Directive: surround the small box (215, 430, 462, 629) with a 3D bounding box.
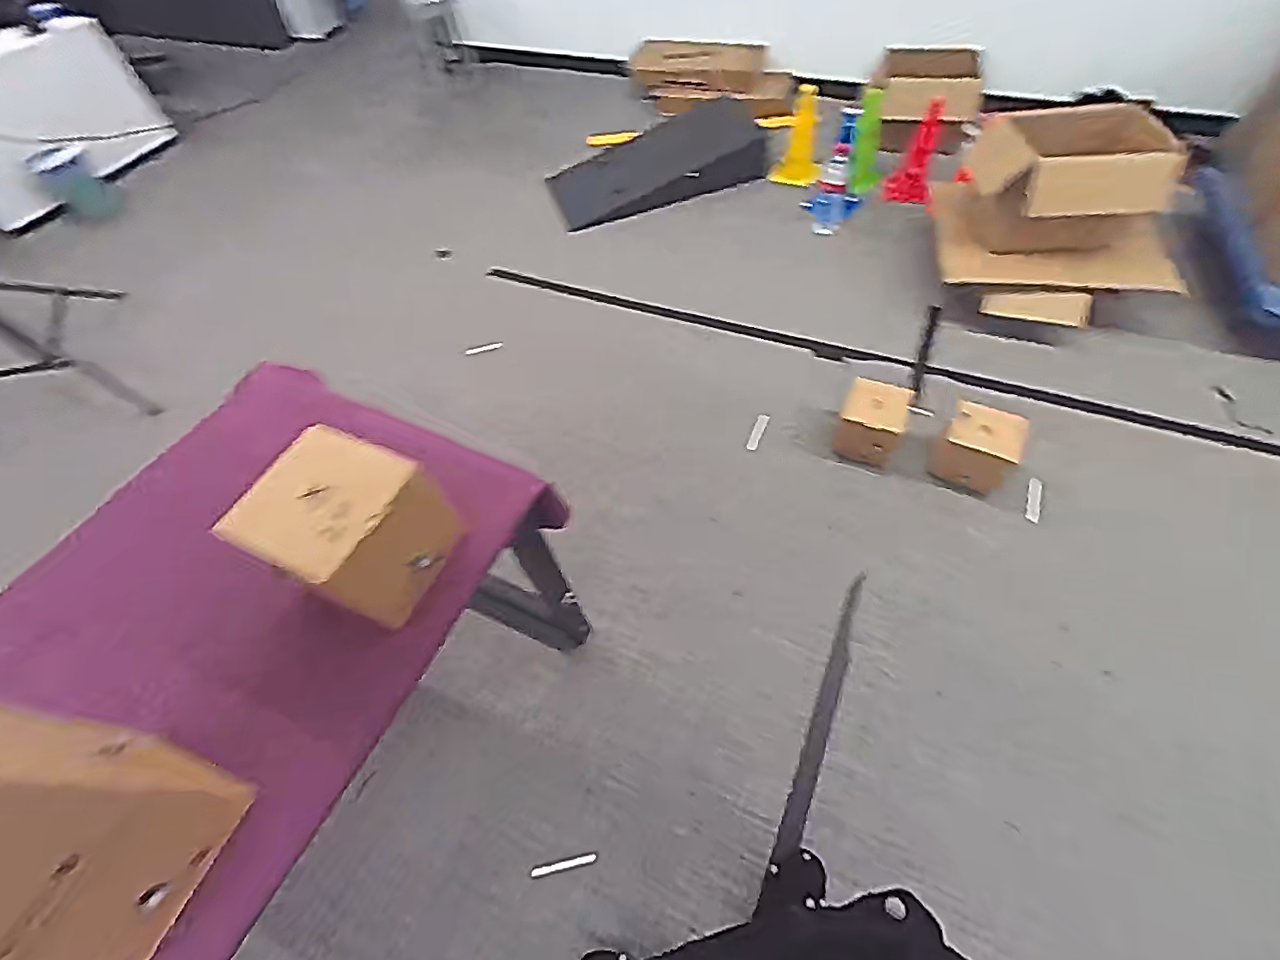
[{"bbox_3d":[-0.366,0.068,0.689,0.179,0.176,0.168,19,62,17],"label":"small box"}]

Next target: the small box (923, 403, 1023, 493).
[{"bbox_3d":[0.953,-0.087,1.557,0.179,0.176,0.168,23,62,18],"label":"small box"}]

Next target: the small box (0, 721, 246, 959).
[{"bbox_3d":[-0.546,0.359,0.518,0.179,0.176,0.168,16,59,14],"label":"small box"}]

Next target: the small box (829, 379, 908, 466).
[{"bbox_3d":[0.683,-0.168,1.634,0.168,0.176,0.179,19,59,15],"label":"small box"}]
